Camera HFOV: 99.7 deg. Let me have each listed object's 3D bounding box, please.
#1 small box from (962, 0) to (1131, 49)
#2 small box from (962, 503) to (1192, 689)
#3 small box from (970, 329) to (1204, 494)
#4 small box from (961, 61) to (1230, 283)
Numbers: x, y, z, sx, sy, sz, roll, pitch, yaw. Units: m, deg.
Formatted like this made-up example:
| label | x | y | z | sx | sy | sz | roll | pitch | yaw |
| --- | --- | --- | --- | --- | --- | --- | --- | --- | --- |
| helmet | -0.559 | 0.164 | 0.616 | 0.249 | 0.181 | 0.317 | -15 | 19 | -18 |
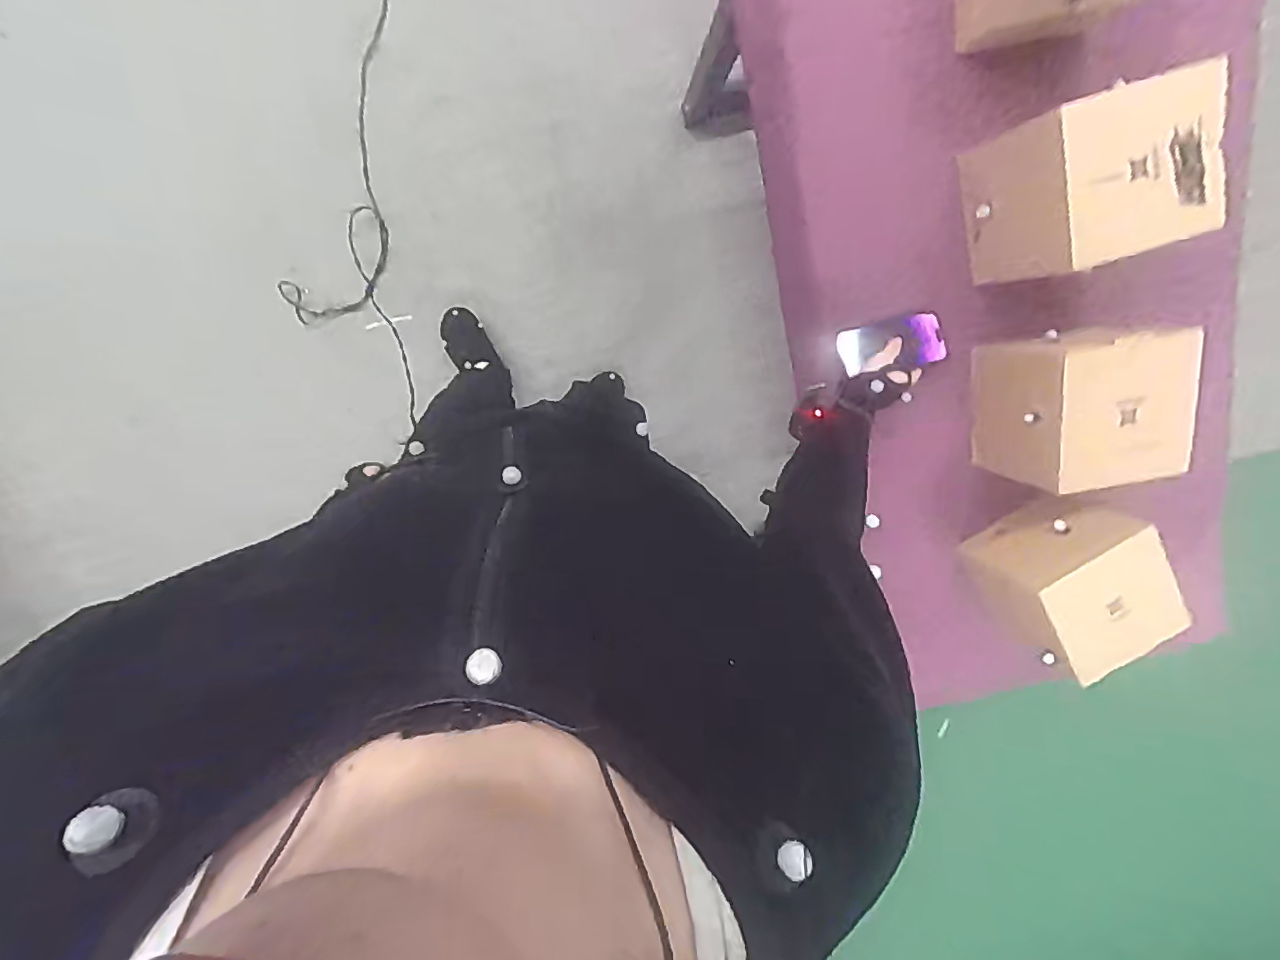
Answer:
| label | x | y | z | sx | sy | sz | roll | pitch | yaw |
| --- | --- | --- | --- | --- | --- | --- | --- | --- | --- |
| small box | 0.467 | -0.596 | 0.568 | 0.179 | 0.176 | 0.168 | -11 | 105 | -1 |
| small box | 0.607 | 0.150 | 0.773 | 0.168 | 0.176 | 0.179 | -33 | 105 | 4 |
| small box | 0.564 | -0.096 | 0.707 | 0.168 | 0.176 | 0.179 | -9 | 105 | -1 |
| small box | 0.521 | -0.343 | 0.639 | 0.179 | 0.176 | 0.168 | -16 | 105 | 1 |
